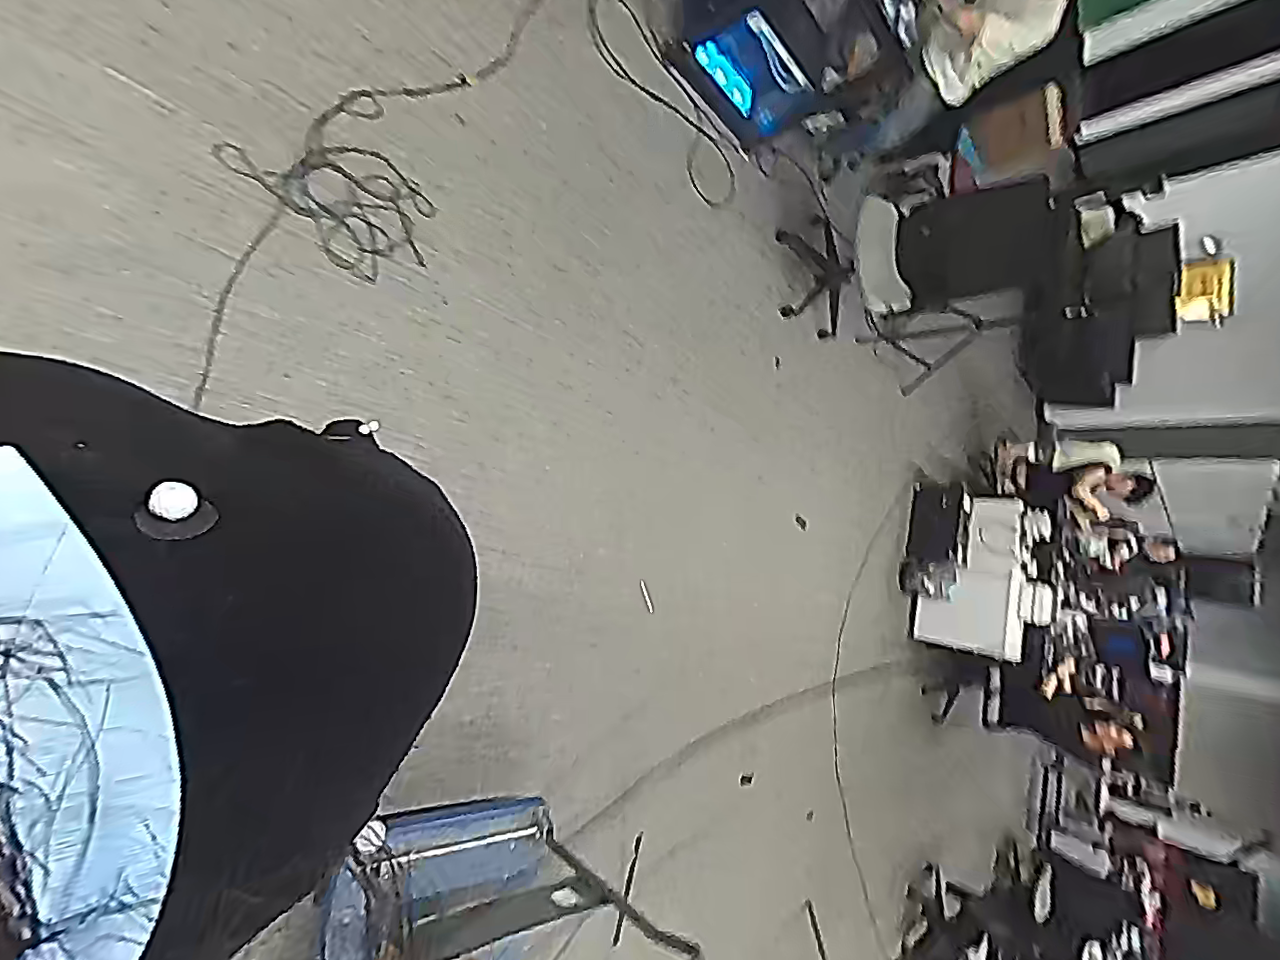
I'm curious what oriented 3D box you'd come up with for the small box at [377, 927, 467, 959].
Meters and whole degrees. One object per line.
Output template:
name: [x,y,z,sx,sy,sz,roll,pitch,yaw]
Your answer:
small box: [-0.527,1.213,1.285,0.179,0.176,0.168,24,75,-40]
